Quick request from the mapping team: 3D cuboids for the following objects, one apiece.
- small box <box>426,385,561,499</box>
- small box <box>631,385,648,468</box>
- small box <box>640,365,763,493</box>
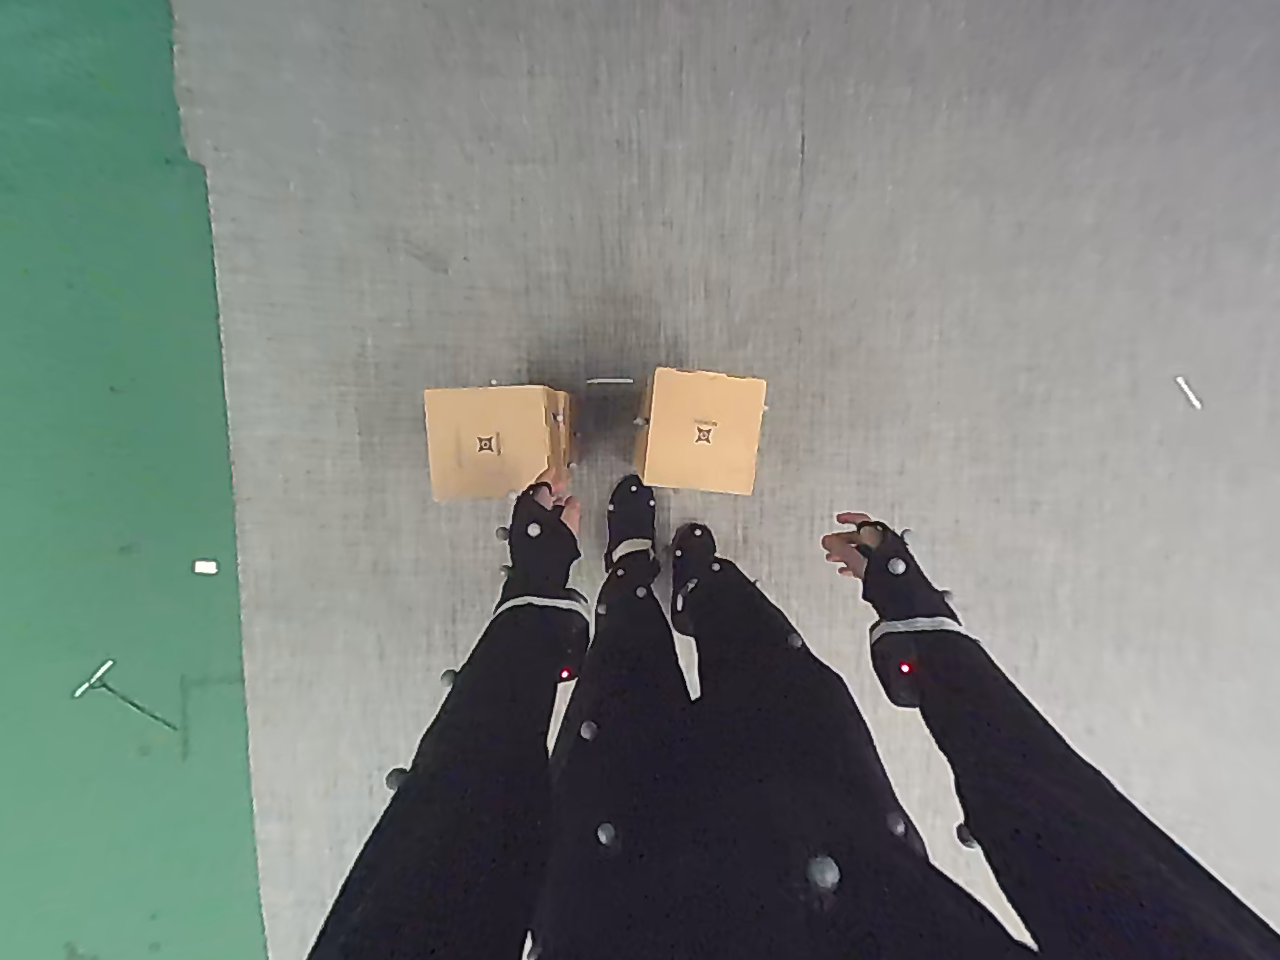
[{"bbox_3d":[-0.221,-0.063,0.863,0.179,0.176,0.168,-2,95,-1],"label":"small box"},{"bbox_3d":[0.073,-0.107,1.202,0.168,0.176,0.179,8,96,-2],"label":"small box"},{"bbox_3d":[0.090,-0.081,0.877,0.168,0.176,0.179,5,94,-2],"label":"small box"}]
